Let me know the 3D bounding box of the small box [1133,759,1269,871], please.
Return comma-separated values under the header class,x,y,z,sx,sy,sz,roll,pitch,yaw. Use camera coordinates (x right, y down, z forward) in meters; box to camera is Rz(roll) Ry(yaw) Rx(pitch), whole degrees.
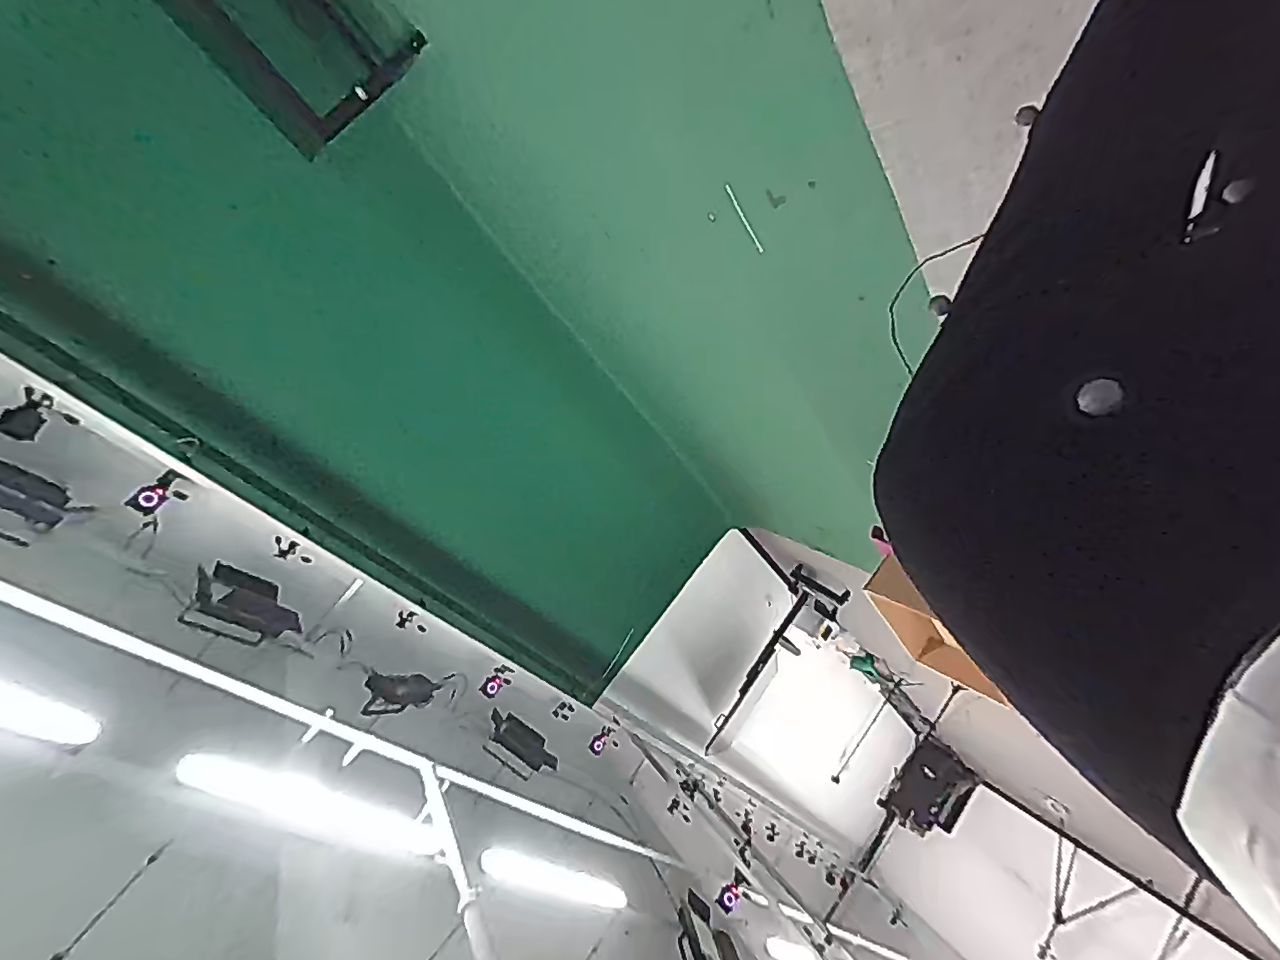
class,x,y,z,sx,sy,sz,roll,pitch,yaw
small box,1.492,0.876,1.436,0.168,0.176,0.179,38,169,15
